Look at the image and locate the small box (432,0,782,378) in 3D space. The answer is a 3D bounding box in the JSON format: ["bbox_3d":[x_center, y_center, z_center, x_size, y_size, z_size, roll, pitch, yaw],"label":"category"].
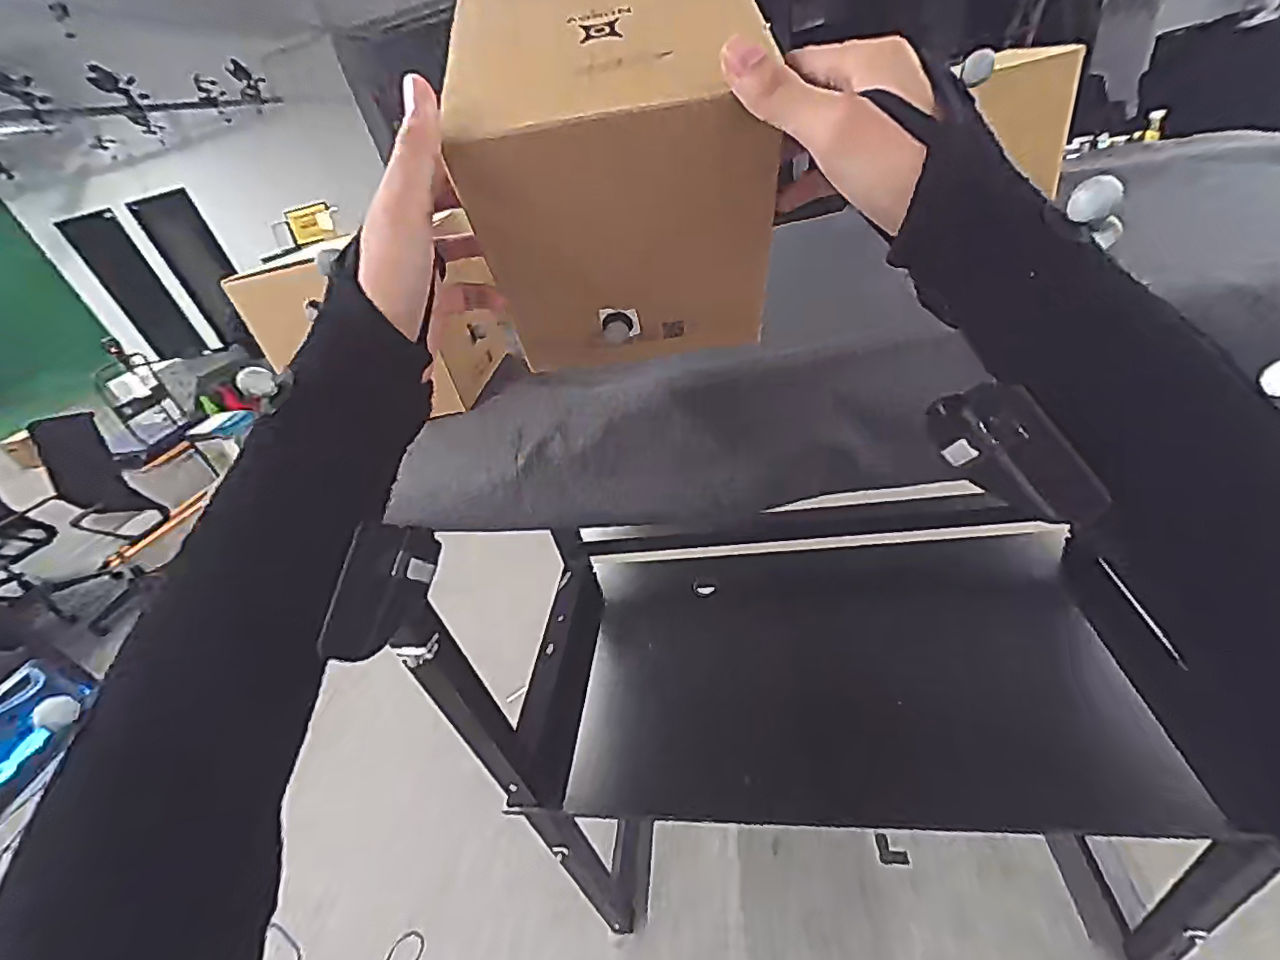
[{"bbox_3d":[-0.015,-0.195,0.357,0.168,0.176,0.179,-9,59,3],"label":"small box"}]

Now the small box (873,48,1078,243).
[{"bbox_3d":[0.401,-0.414,0.682,0.168,0.176,0.179,-7,35,12],"label":"small box"}]

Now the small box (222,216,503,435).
[{"bbox_3d":[-0.274,-0.163,0.581,0.179,0.176,0.168,-9,34,9],"label":"small box"}]

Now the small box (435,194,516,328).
[{"bbox_3d":[-0.160,-0.341,0.795,0.179,0.176,0.168,-7,35,10],"label":"small box"}]
